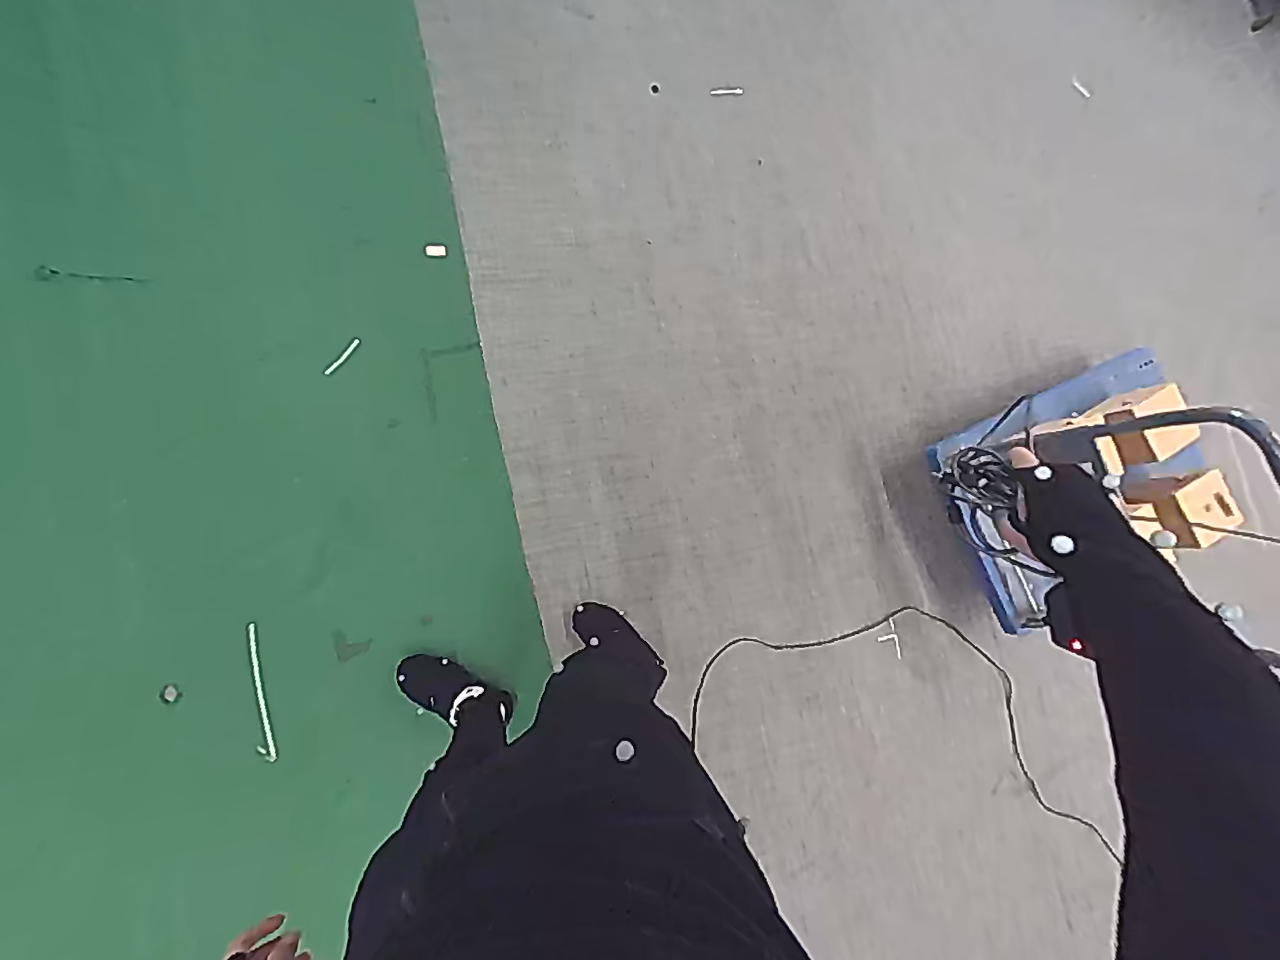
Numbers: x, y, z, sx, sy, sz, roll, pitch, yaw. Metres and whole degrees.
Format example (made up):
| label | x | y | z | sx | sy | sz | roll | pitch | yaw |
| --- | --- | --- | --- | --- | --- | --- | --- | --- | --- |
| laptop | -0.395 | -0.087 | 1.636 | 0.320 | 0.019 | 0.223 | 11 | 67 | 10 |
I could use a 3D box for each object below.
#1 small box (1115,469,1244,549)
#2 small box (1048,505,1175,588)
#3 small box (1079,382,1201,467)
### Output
| label | x | y | z | sx | sy | sz | roll | pitch | yaw |
| --- | --- | --- | --- | --- | --- | --- | --- | --- | --- |
| small box | 1.508 | 0.083 | 1.522 | 0.179 | 0.176 | 0.168 | -25 | 88 | -12 |
| small box | 1.269 | 0.177 | 1.466 | 0.179 | 0.176 | 0.168 | -22 | 88 | -12 |
| small box | 1.396 | -0.149 | 1.527 | 0.179 | 0.176 | 0.168 | -27 | 90 | -12 |
